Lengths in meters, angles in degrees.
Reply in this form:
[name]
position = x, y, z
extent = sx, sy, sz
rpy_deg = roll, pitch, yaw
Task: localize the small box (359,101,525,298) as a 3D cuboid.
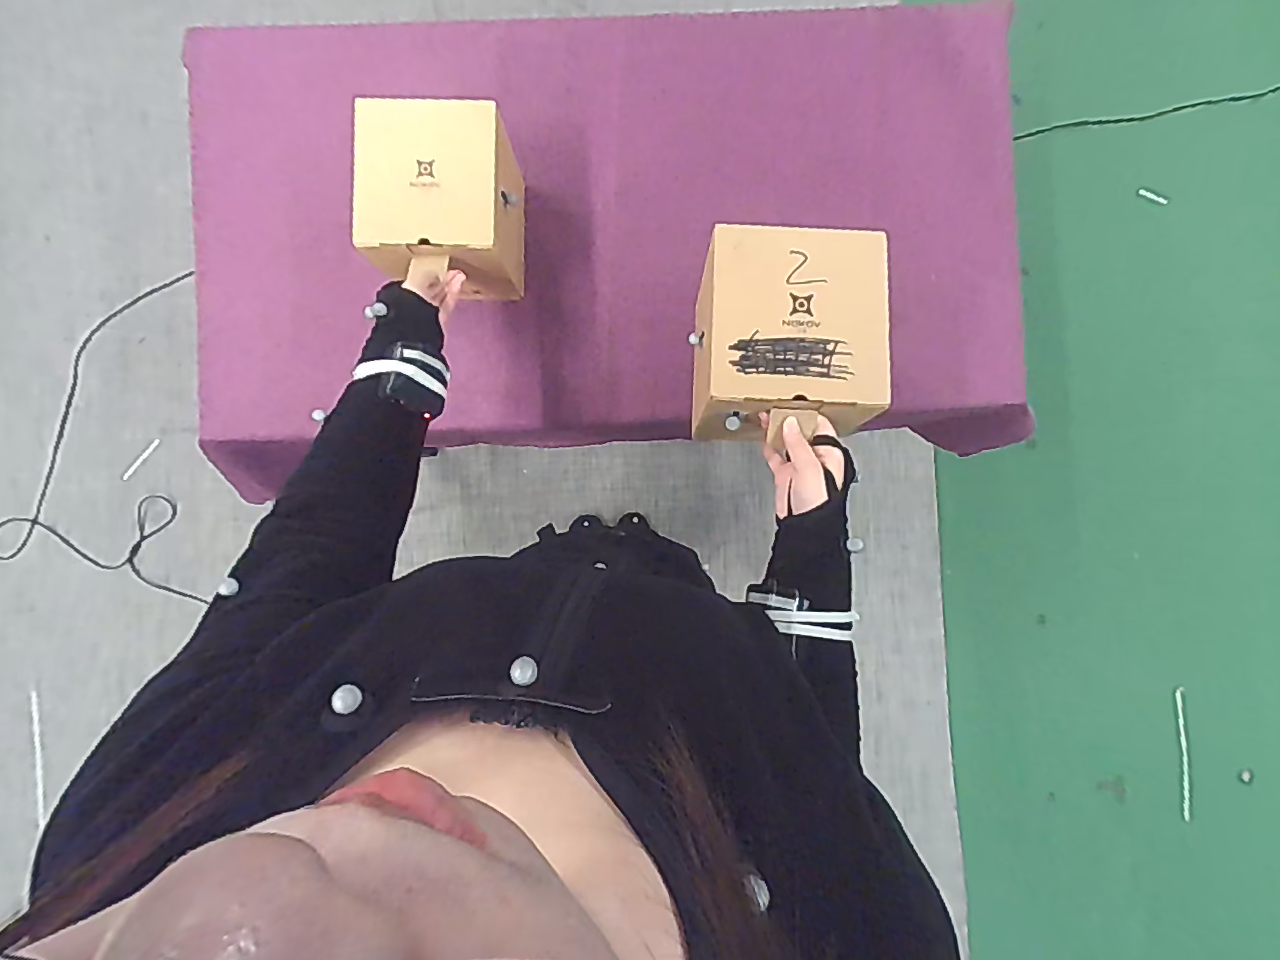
[small box]
position = -0.253, -0.363, 0.725
extent = 0.168, 0.176, 0.179
rpy_deg = 1, 89, -1
